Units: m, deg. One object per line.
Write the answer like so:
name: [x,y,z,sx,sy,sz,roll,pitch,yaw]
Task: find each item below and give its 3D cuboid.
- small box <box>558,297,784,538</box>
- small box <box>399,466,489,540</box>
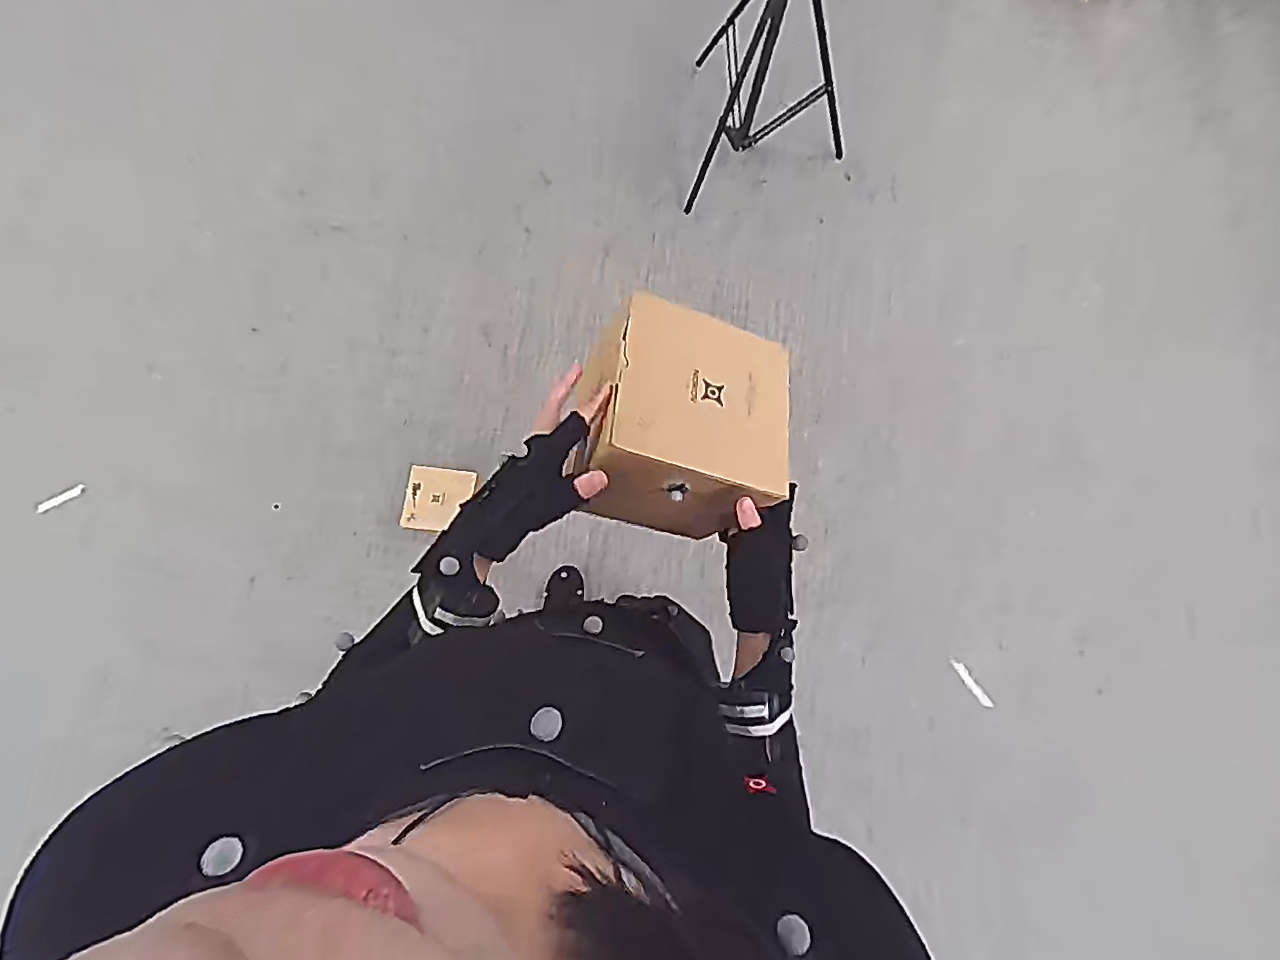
small box: [0.026,-0.049,0.562,0.179,0.176,0.168,15,64,-21]
small box: [-0.526,0.069,1.479,0.179,0.176,0.168,8,78,-2]
